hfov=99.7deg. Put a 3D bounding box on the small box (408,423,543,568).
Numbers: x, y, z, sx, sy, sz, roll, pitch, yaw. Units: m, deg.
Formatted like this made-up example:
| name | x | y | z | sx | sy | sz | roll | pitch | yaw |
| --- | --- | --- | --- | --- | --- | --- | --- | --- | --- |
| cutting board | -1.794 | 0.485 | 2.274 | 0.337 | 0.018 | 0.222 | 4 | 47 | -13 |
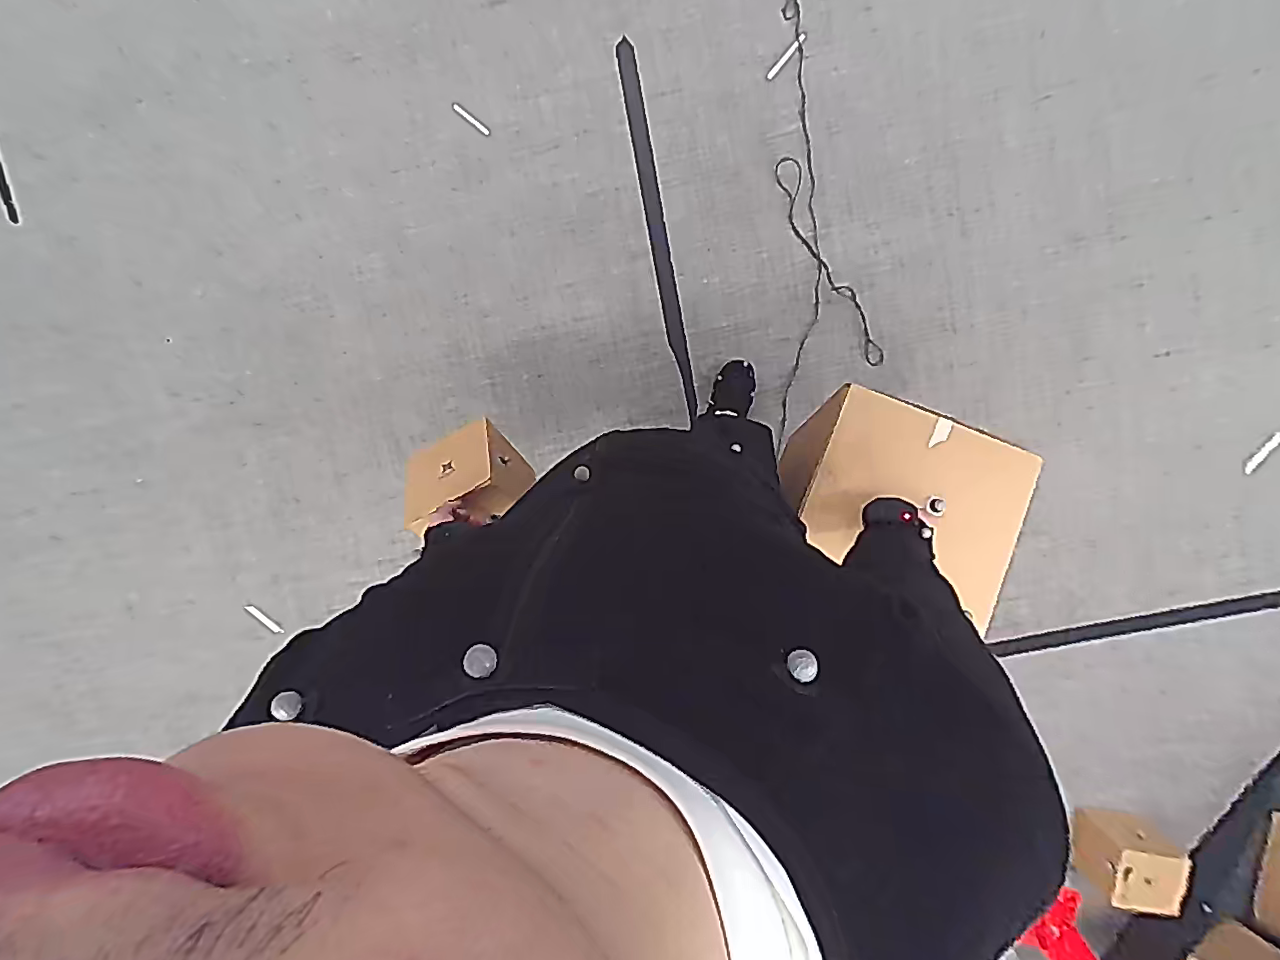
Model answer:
| name | x | y | z | sx | sy | sz | roll | pitch | yaw |
| --- | --- | --- | --- | --- | --- | --- | --- | --- | --- |
| small box | -0.291 | 0.036 | 0.976 | 0.168 | 0.179 | 0.176 | -28 | 134 | 6 |
